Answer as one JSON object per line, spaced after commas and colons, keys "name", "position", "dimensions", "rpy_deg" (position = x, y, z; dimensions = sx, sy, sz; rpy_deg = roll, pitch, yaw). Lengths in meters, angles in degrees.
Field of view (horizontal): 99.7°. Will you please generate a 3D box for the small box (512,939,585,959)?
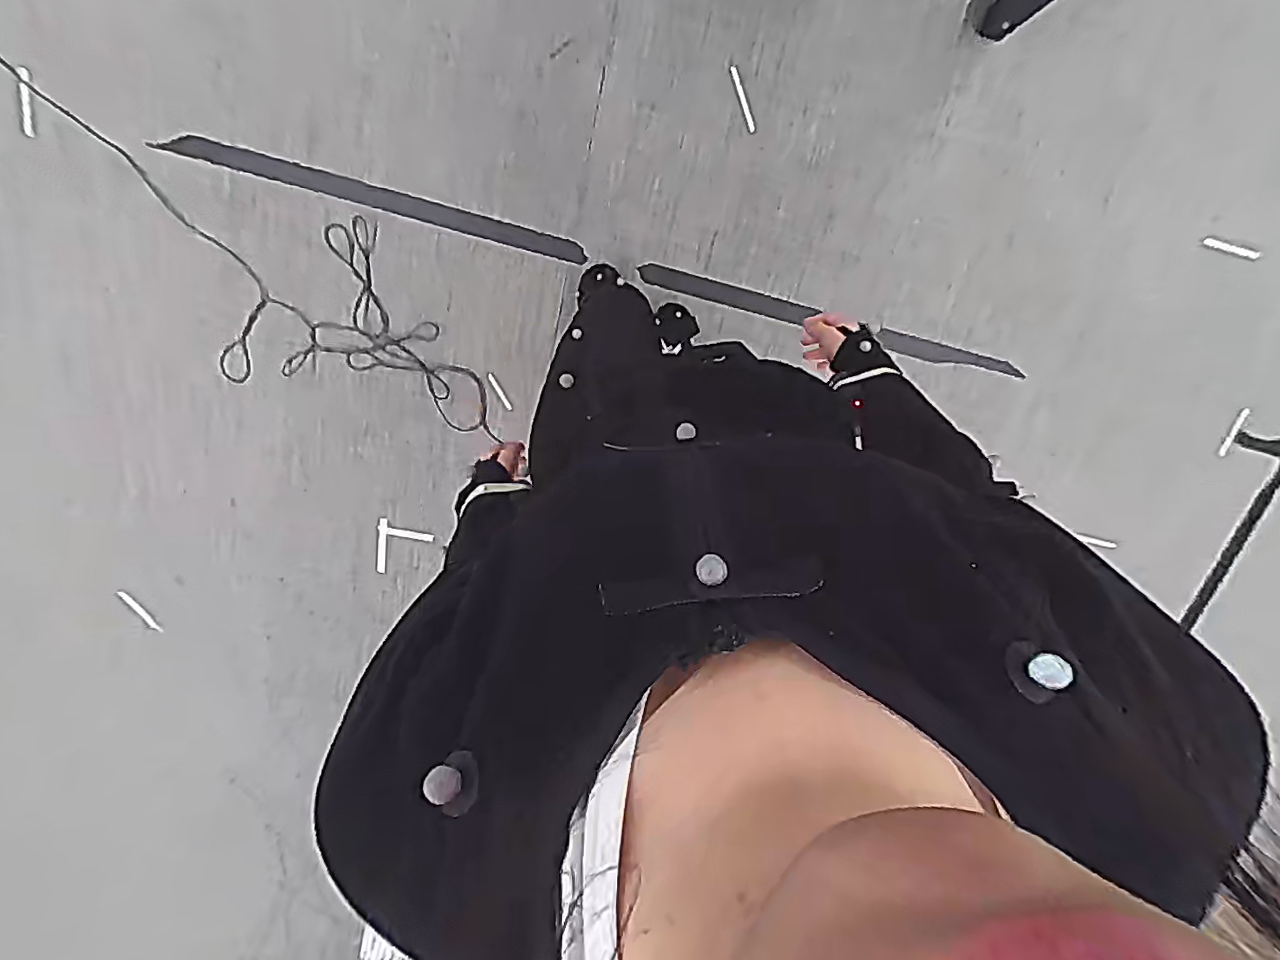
{"name": "small box", "position": [-0.221, 1.161, 1.183], "dimensions": [0.168, 0.176, 0.179], "rpy_deg": [18, 107, -6]}
